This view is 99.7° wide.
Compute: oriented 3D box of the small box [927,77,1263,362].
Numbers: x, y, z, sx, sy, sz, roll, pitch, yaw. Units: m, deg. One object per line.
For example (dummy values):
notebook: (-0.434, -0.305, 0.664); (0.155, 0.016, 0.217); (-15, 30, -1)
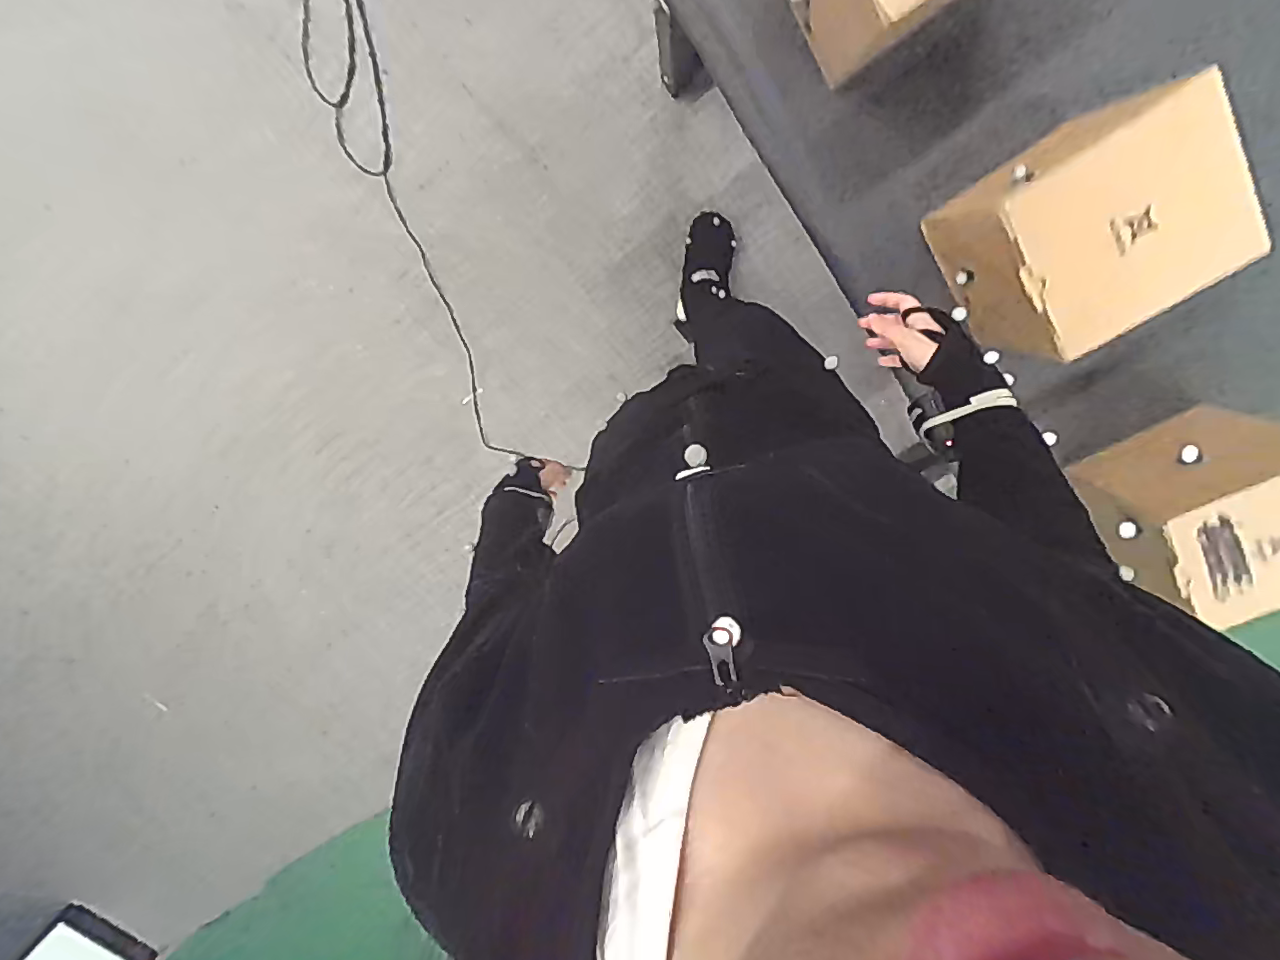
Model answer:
small box: (0.435, -0.247, 0.546); (0.179, 0.176, 0.168); (-32, 107, 14)

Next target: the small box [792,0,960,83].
small box: (0.231, -0.493, 0.458); (0.179, 0.176, 0.168); (-31, 106, 13)
